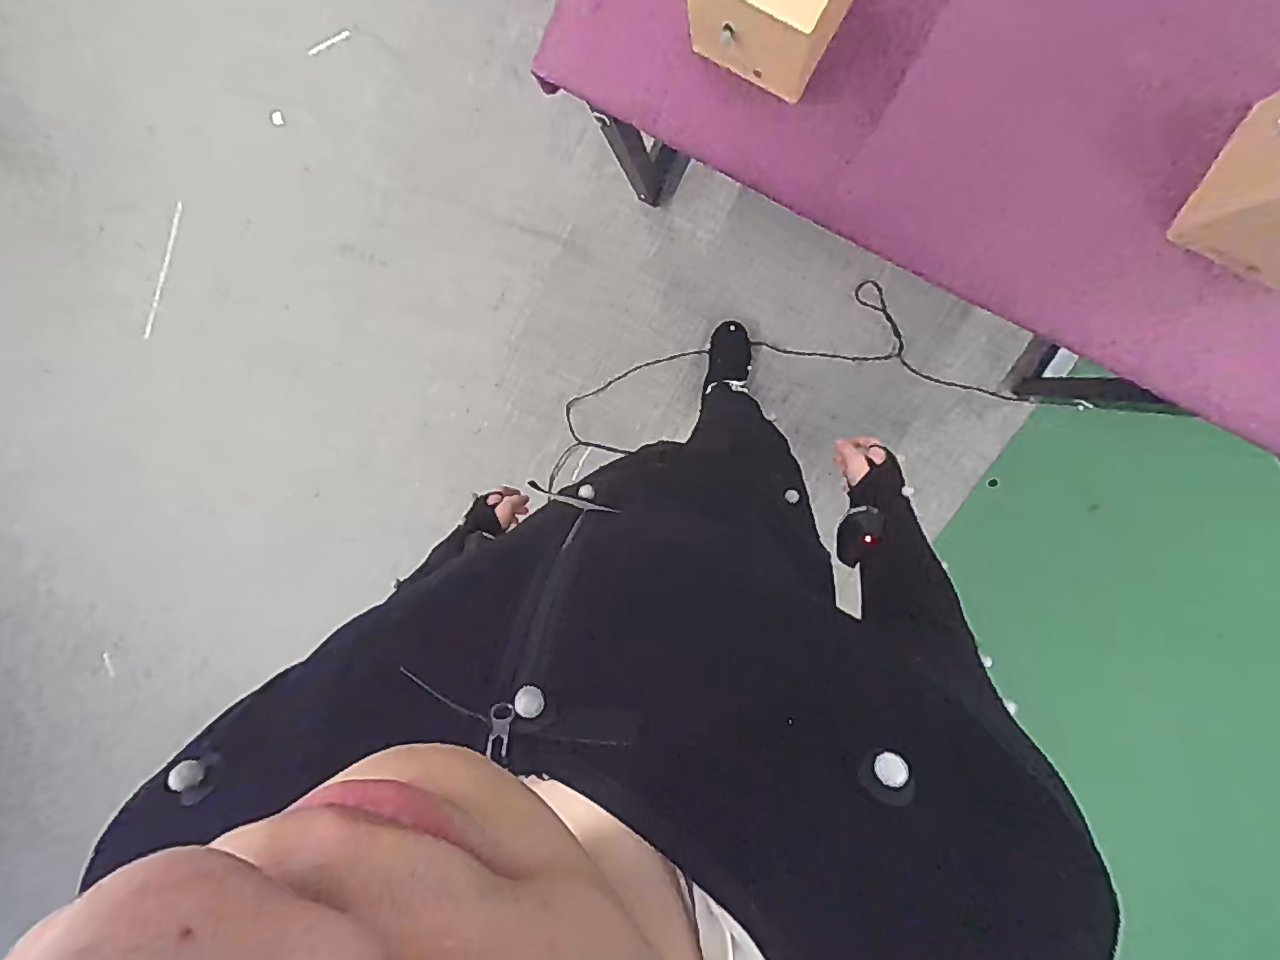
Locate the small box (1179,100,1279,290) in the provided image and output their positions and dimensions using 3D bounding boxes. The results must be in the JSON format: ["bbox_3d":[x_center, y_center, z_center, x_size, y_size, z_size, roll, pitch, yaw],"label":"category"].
[{"bbox_3d":[0.780,-0.337,0.598,0.168,0.176,0.179,29,103,5],"label":"small box"}]

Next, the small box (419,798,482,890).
[{"bbox_3d":[-0.684,1.282,1.913,0.168,0.176,0.179,24,104,4],"label":"small box"}]

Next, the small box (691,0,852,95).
[{"bbox_3d":[0.173,-0.617,0.649,0.168,0.176,0.179,31,104,3],"label":"small box"}]
